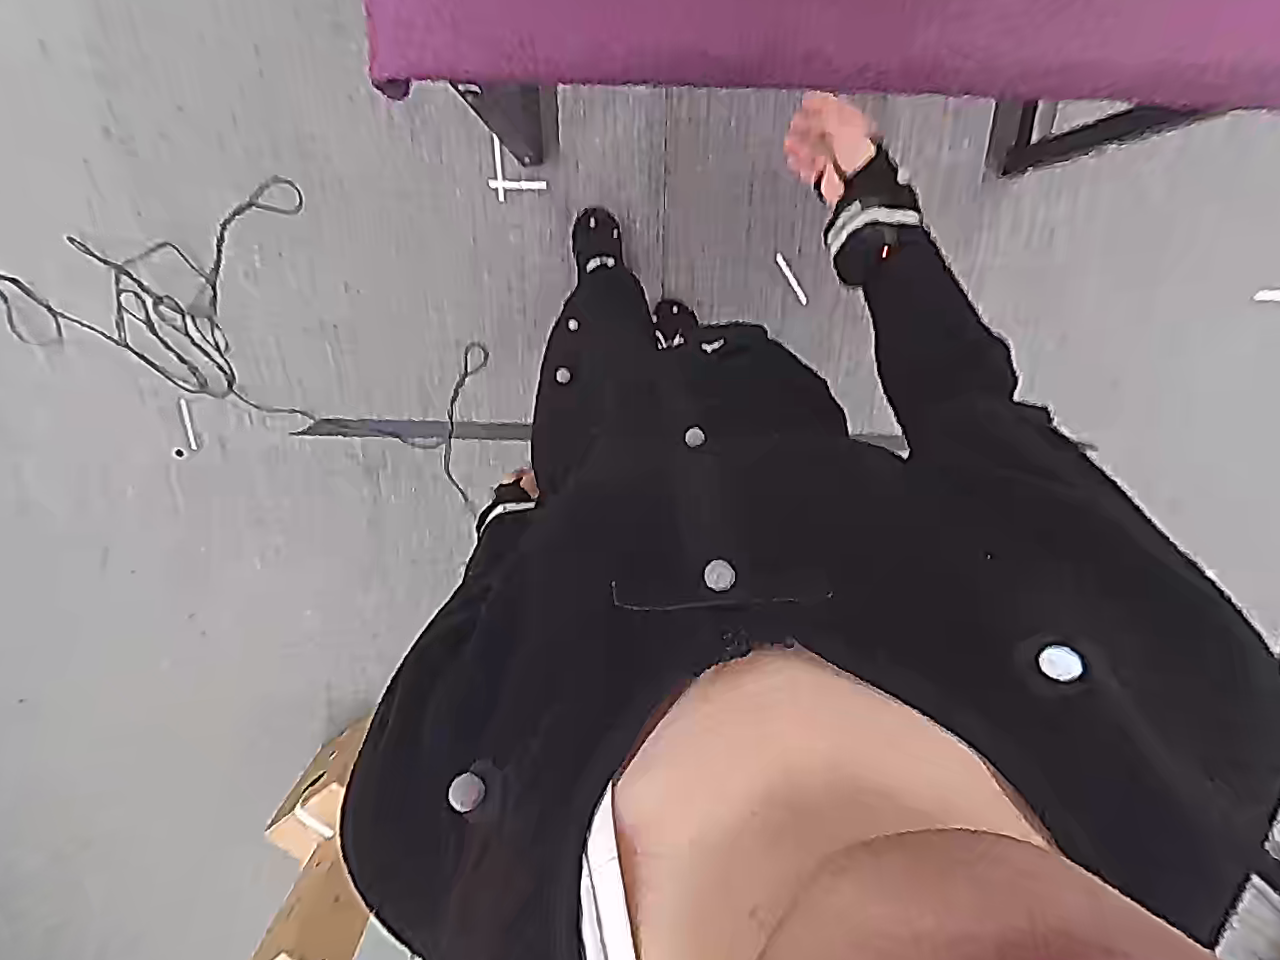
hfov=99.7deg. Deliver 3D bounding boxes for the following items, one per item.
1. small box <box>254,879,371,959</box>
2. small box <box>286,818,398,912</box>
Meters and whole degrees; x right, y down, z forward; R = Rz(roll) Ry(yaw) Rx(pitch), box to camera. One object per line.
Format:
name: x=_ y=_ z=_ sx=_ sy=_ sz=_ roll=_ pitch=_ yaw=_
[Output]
small box: x=-0.803 y=1.136 z=1.324 sx=0.179 sy=0.176 sz=0.168 roll=-39 pitch=106 yaw=13
small box: x=-0.802 y=1.080 z=1.479 sx=0.179 sy=0.176 sz=0.168 roll=-40 pitch=105 yaw=11
